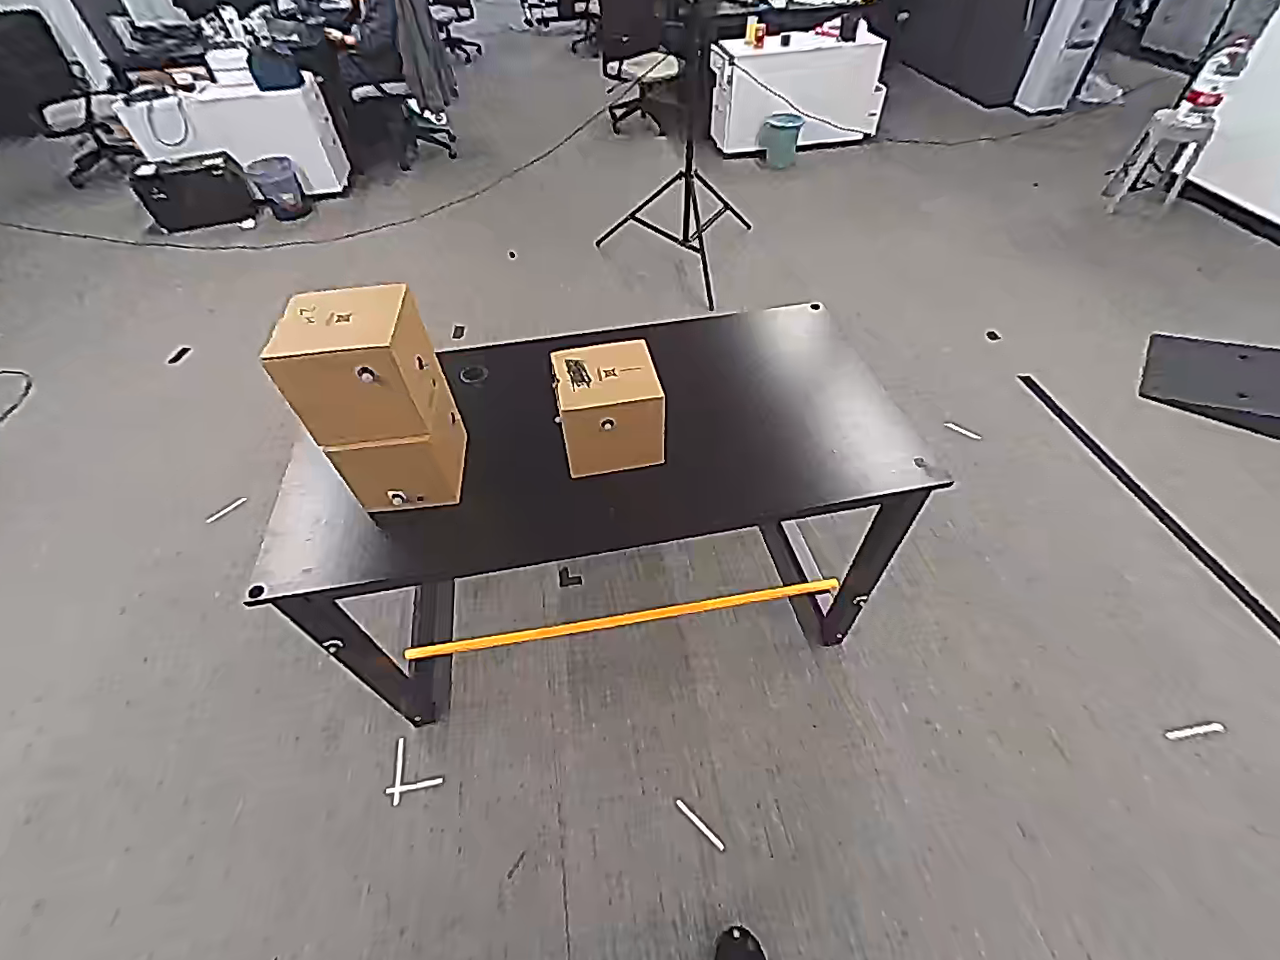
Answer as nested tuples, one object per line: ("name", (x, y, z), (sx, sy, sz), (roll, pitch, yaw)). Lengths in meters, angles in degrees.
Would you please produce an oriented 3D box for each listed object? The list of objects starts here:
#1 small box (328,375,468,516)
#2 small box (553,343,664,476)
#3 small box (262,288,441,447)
("small box", (-0.412, -0.060, 0.957), (0.168, 0.176, 0.179), (-7, 51, -3))
("small box", (-0.056, -0.126, 0.996), (0.179, 0.176, 0.168), (-9, 50, -7))
("small box", (-0.424, -0.171, 0.835), (0.179, 0.176, 0.168), (-7, 49, -3))
